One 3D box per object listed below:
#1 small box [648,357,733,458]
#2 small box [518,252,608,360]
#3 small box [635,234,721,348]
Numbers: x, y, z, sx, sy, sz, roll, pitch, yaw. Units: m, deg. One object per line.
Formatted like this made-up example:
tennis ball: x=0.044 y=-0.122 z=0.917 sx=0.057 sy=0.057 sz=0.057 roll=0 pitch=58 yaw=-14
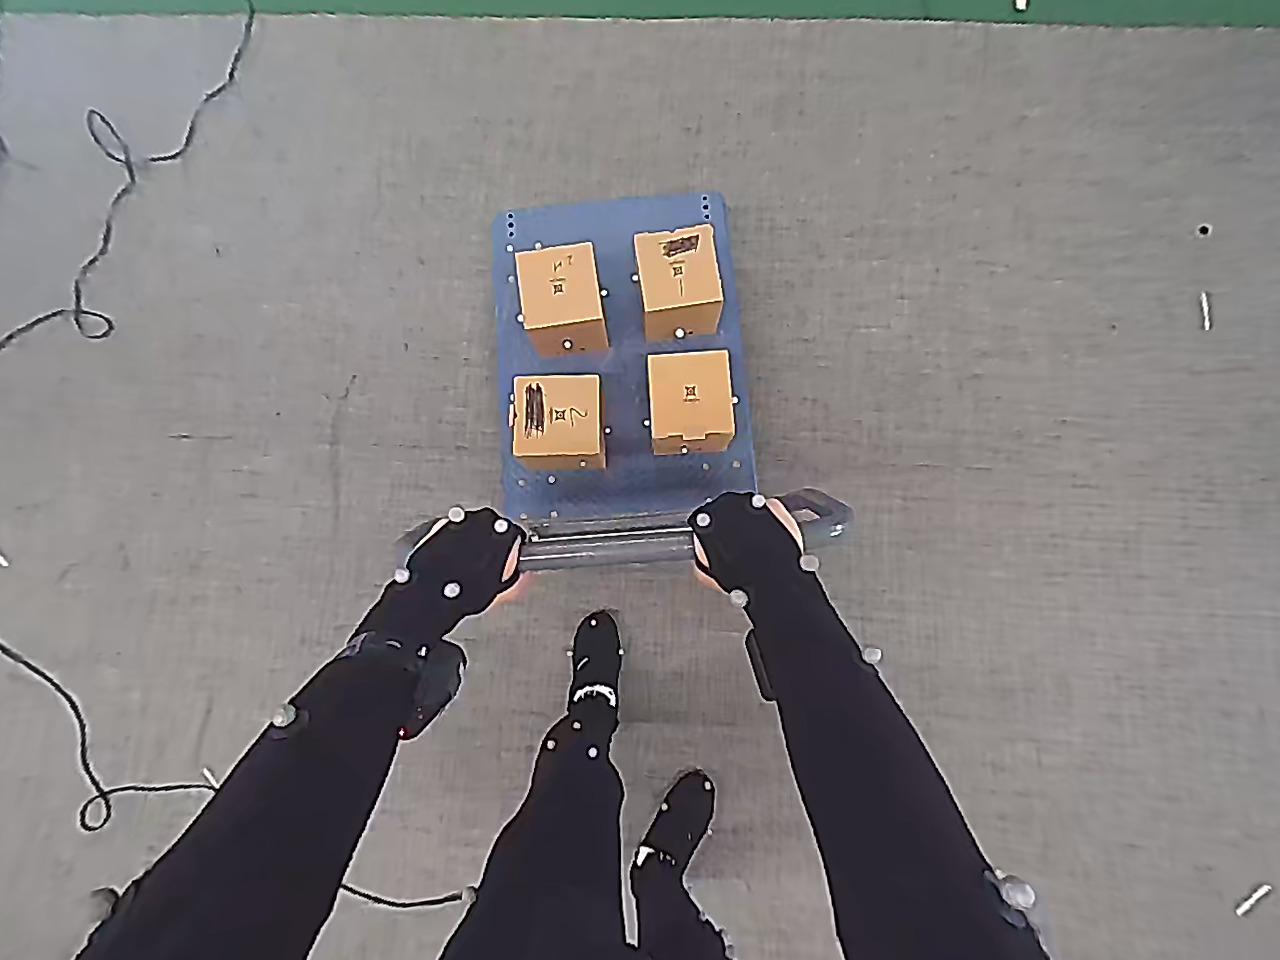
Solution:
small box: x=0.104 y=-0.154 z=1.184 sx=0.168 sy=0.176 sz=0.179 roll=-4 pitch=82 yaw=1
small box: x=-0.167 y=-0.382 z=1.224 sx=0.168 sy=0.176 sz=0.179 roll=-8 pitch=81 yaw=0
small box: x=0.081 y=-0.421 z=1.223 sx=0.168 sy=0.176 sz=0.179 roll=-8 pitch=82 yaw=1
